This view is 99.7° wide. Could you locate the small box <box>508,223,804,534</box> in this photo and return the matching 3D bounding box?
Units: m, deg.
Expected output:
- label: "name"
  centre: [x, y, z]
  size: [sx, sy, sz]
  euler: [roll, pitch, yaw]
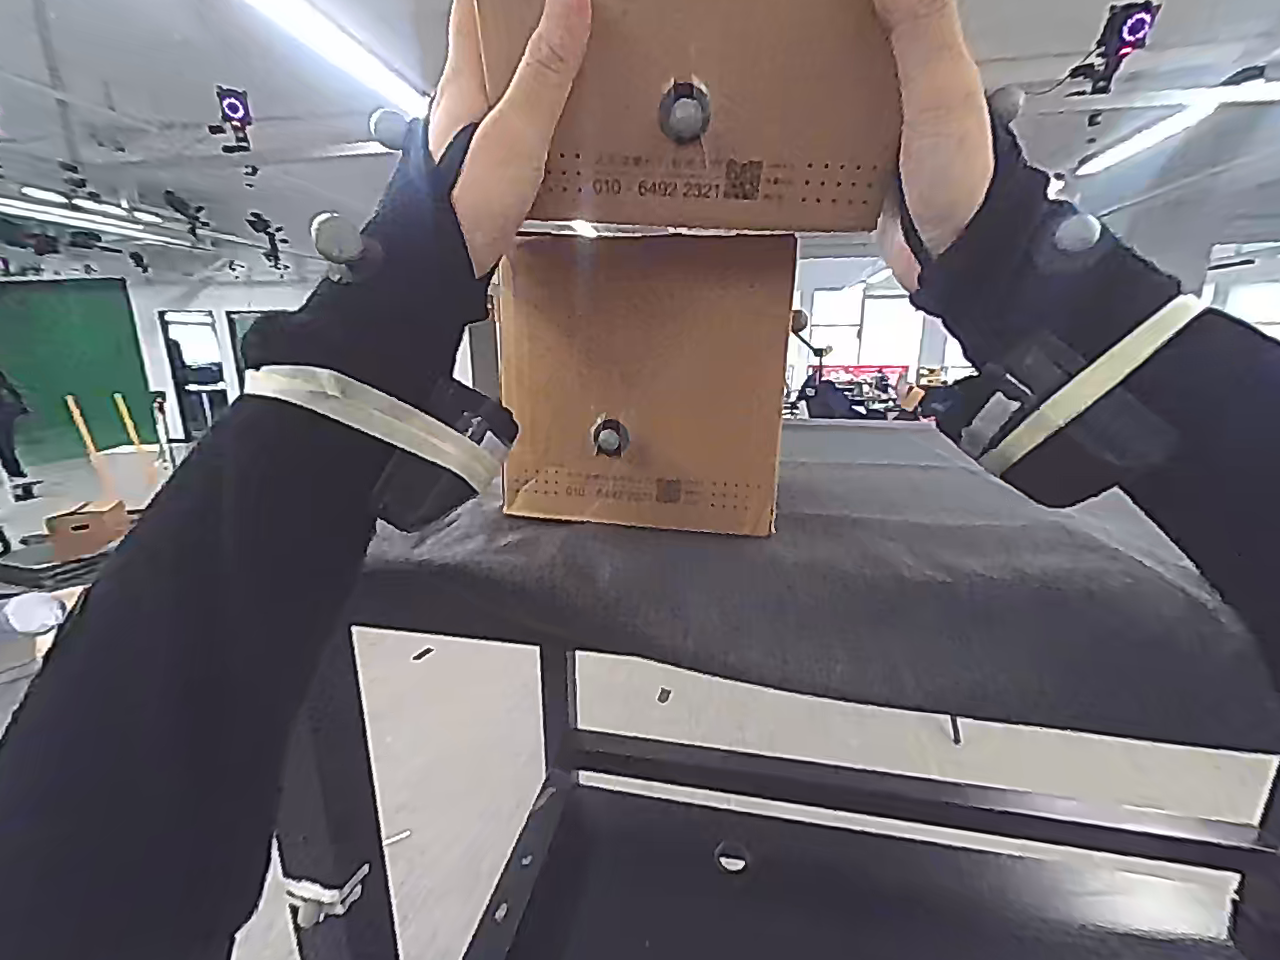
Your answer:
- label: "small box"
  centre: [0.015, -0.072, 0.385]
  size: [0.168, 0.176, 0.179]
  euler: [4, 13, 9]
